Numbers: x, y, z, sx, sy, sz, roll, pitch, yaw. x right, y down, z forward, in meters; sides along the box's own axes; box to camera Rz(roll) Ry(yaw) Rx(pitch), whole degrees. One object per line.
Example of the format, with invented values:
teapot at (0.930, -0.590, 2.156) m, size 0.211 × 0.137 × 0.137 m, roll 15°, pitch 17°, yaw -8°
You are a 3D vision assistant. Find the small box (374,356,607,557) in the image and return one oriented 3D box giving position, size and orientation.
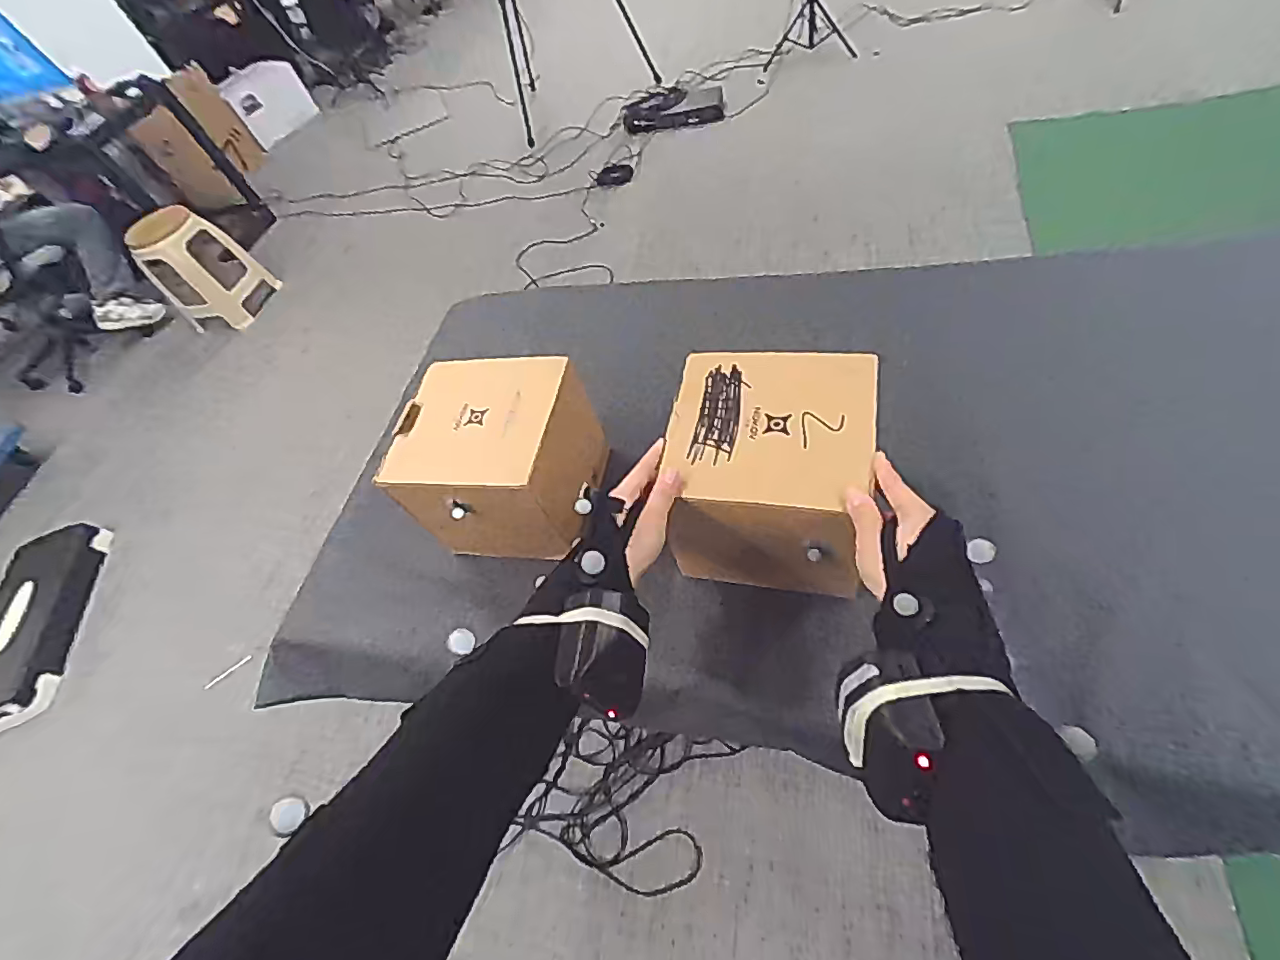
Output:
small box at (-0.154, -0.021, 0.623) m, size 0.179 × 0.176 × 0.168 m, roll 1°, pitch 58°, yaw 16°
